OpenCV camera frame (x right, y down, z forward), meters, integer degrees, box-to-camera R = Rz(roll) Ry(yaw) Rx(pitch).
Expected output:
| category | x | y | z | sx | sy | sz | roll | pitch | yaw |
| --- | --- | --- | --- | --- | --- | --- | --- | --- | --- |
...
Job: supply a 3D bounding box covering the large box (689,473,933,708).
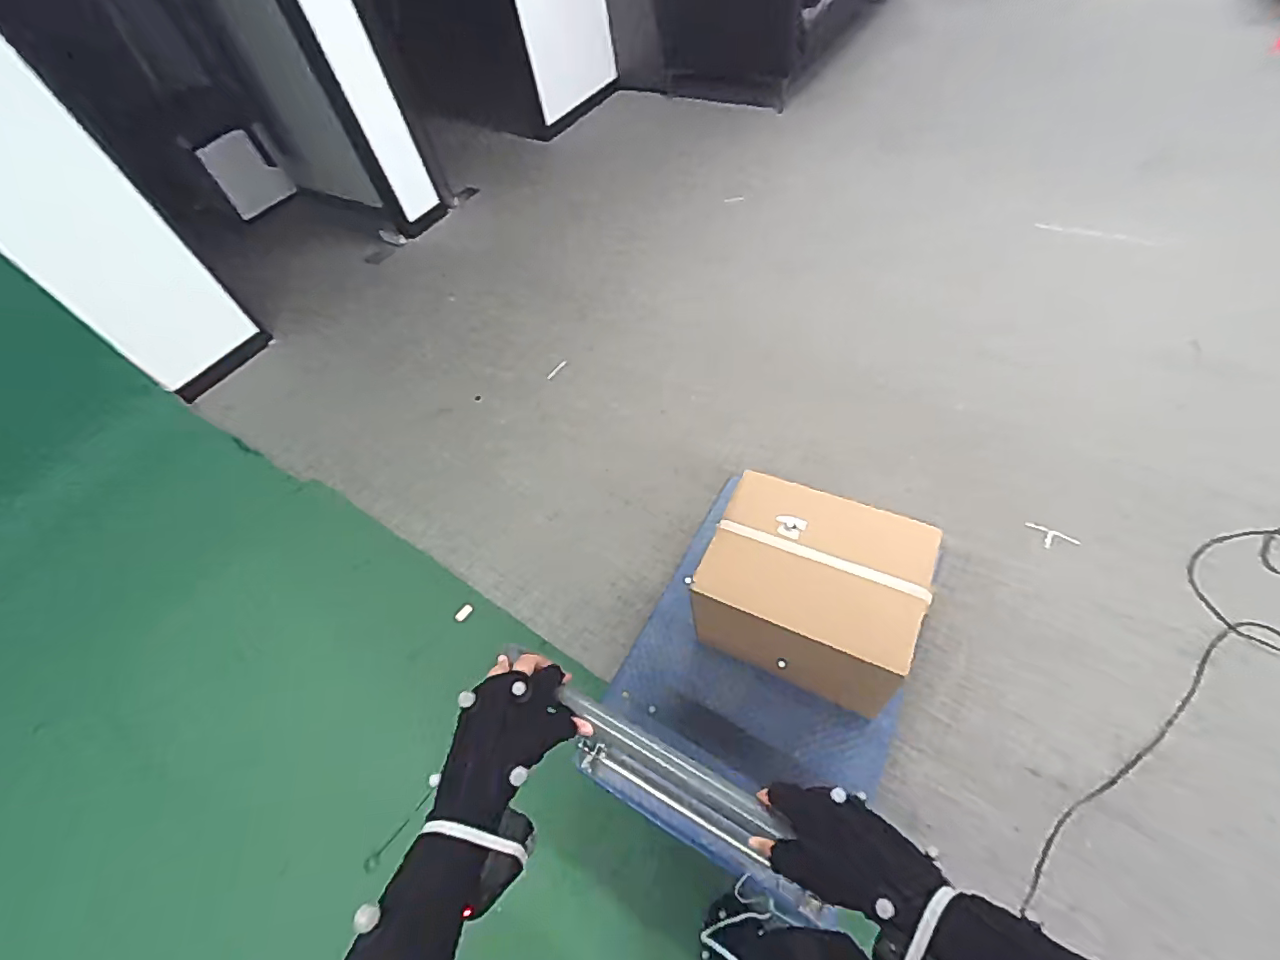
| category | x | y | z | sx | sy | sz | roll | pitch | yaw |
| --- | --- | --- | --- | --- | --- | --- | --- | --- | --- |
| large box | 0.361 | 0.239 | 1.176 | 0.408 | 0.320 | 0.320 | 18 | 59 | 23 |
